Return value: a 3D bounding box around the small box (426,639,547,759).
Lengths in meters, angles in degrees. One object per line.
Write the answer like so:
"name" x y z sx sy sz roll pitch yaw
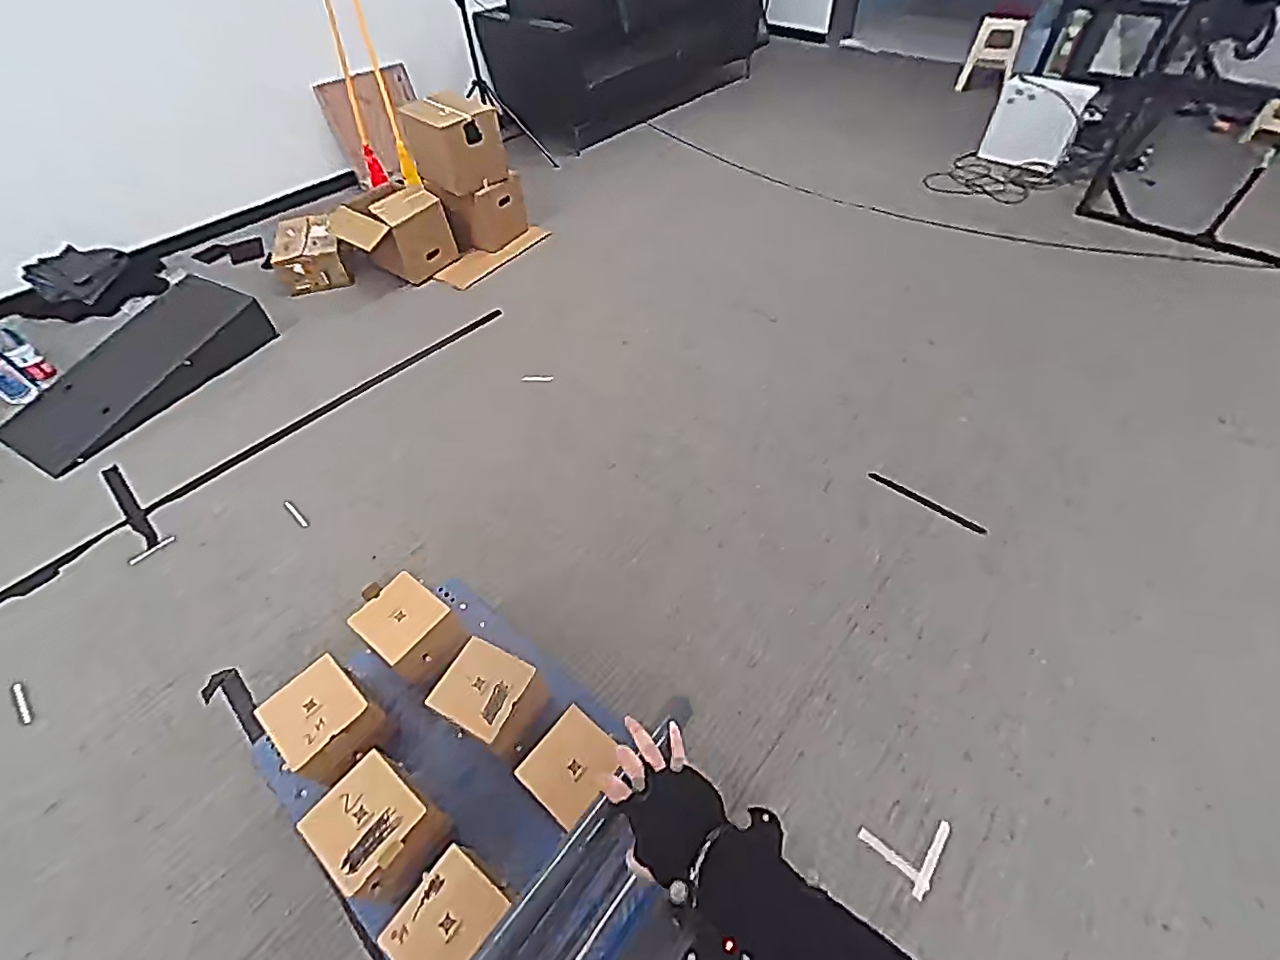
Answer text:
"small box" -0.323 0.485 1.184 0.179 0.176 0.168 20 54 18

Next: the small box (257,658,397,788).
"small box" -0.662 0.525 1.160 0.179 0.176 0.168 34 59 25

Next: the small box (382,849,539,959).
"small box" -0.298 0.783 0.938 0.179 0.176 0.168 28 56 22

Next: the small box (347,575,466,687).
"small box" -0.545 0.367 1.288 0.179 0.176 0.168 29 57 23

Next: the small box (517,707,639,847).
"small box" -0.114 0.599 1.084 0.179 0.176 0.168 31 58 25
